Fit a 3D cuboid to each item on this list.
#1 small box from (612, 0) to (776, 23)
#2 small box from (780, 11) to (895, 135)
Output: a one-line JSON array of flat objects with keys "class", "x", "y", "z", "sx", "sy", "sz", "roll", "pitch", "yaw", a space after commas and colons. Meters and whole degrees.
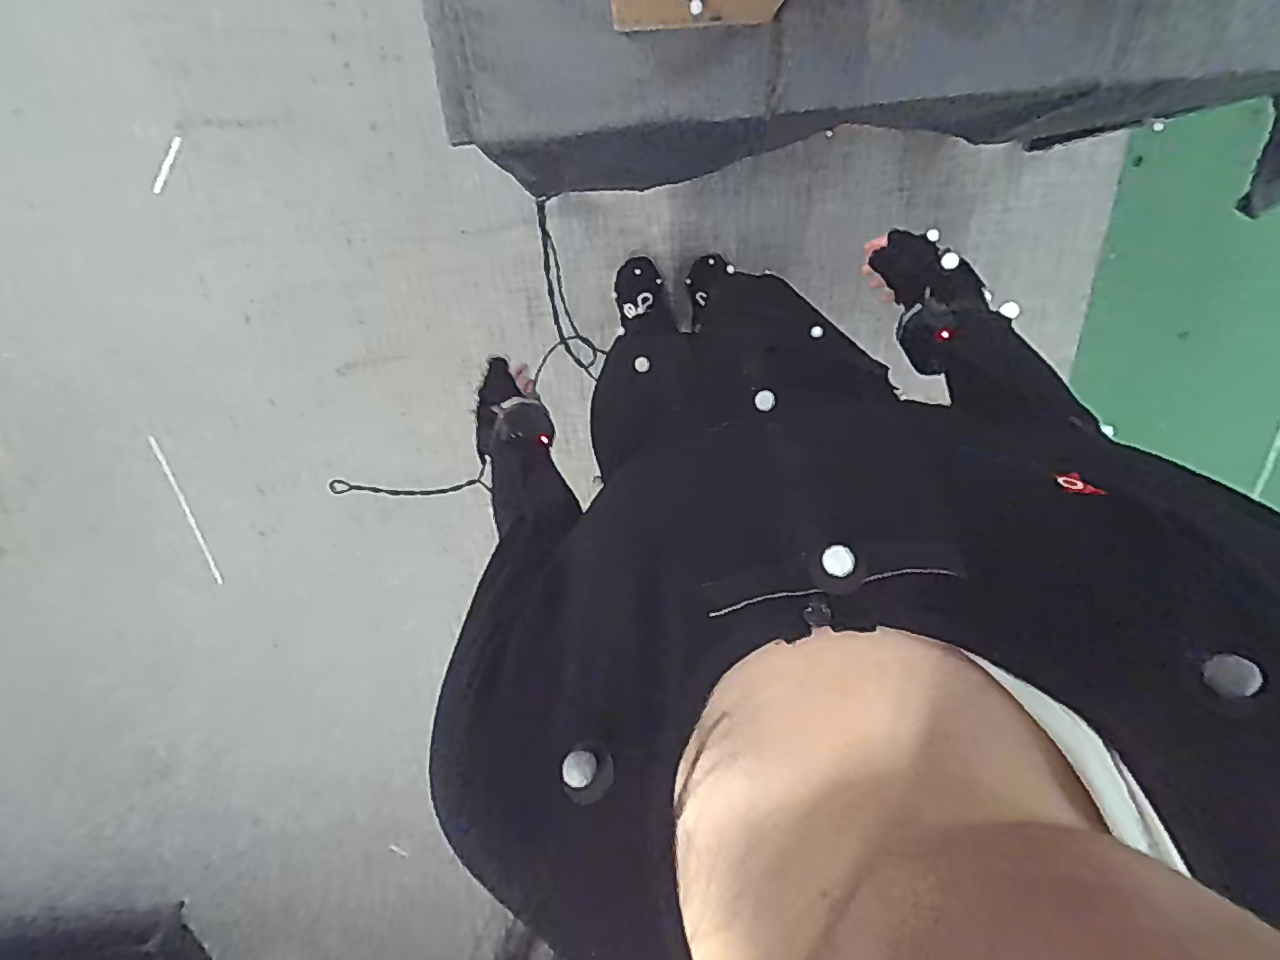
[{"class": "small box", "x": 0.052, "y": -0.518, "z": 0.455, "sx": 0.168, "sy": 0.176, "sz": 0.179, "roll": -3, "pitch": 113, "yaw": -1}, {"class": "small box", "x": 0.400, "y": -0.833, "z": 1.121, "sx": 0.179, "sy": 0.176, "sz": 0.168, "roll": -6, "pitch": 113, "yaw": 2}]
